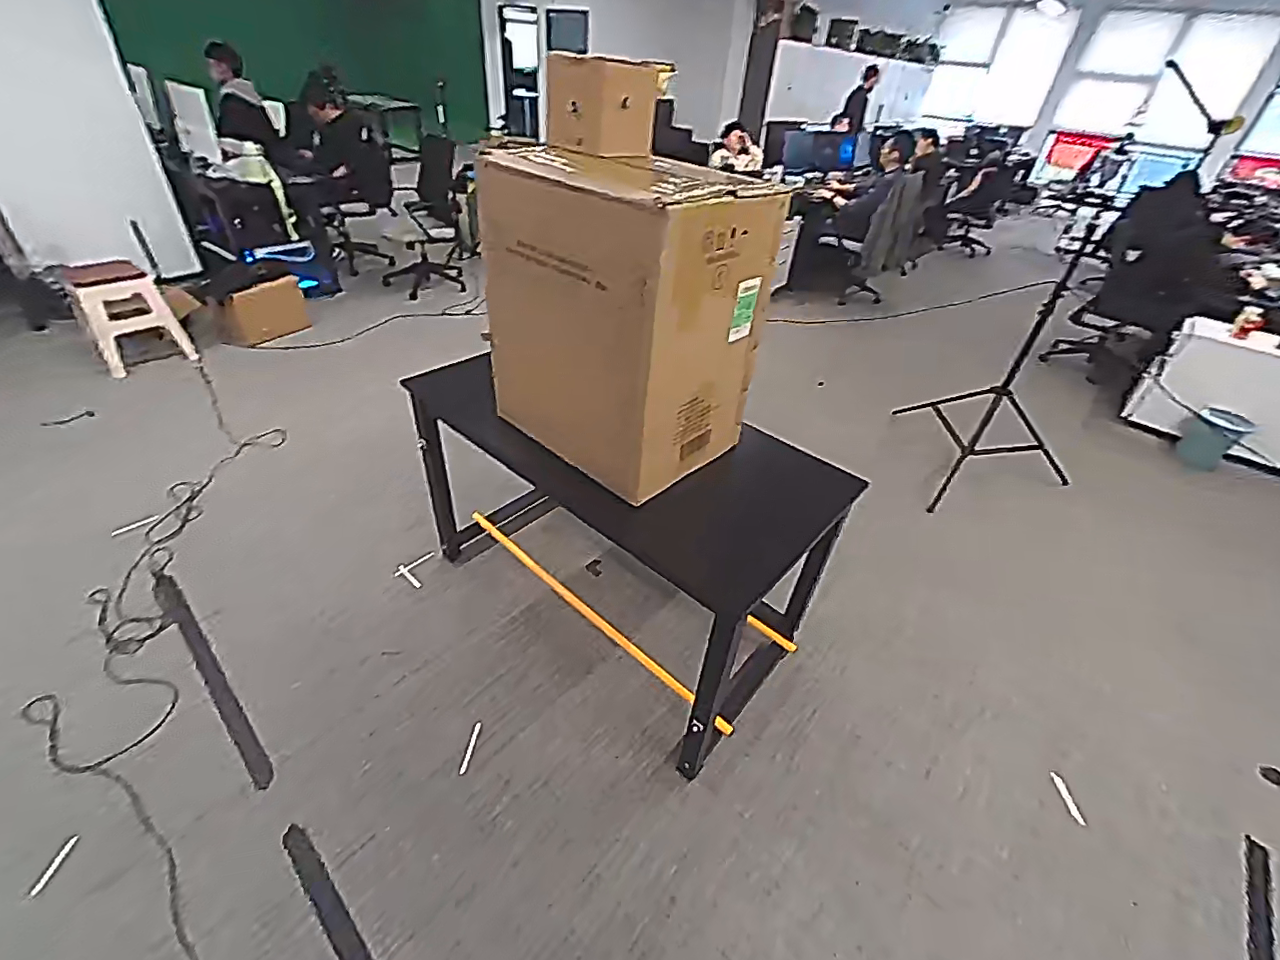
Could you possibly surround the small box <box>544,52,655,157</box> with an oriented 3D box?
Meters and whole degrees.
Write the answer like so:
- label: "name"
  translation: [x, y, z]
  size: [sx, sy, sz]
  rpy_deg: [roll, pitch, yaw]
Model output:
- label: "small box"
  translation: [-0.087, -0.808, 1.169]
  size: [0.168, 0.176, 0.179]
  rpy_deg: [29, 42, 26]
